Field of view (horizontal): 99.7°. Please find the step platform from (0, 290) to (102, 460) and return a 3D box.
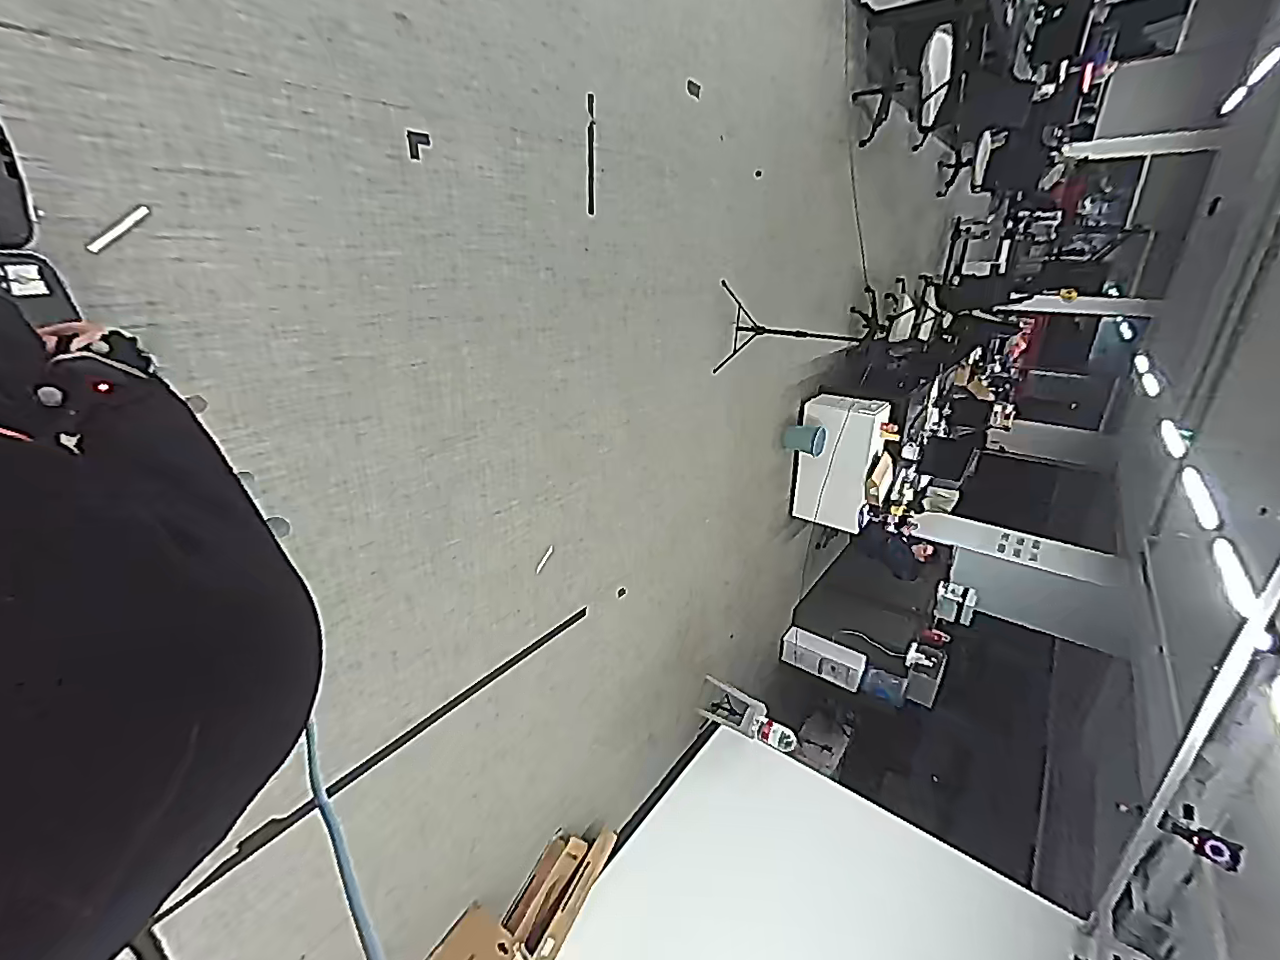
[{"bbox_3d":[-1.276,-0.142,0.797,0.684,0.204,0.286,-19,117,-48],"label":"step platform"}]
